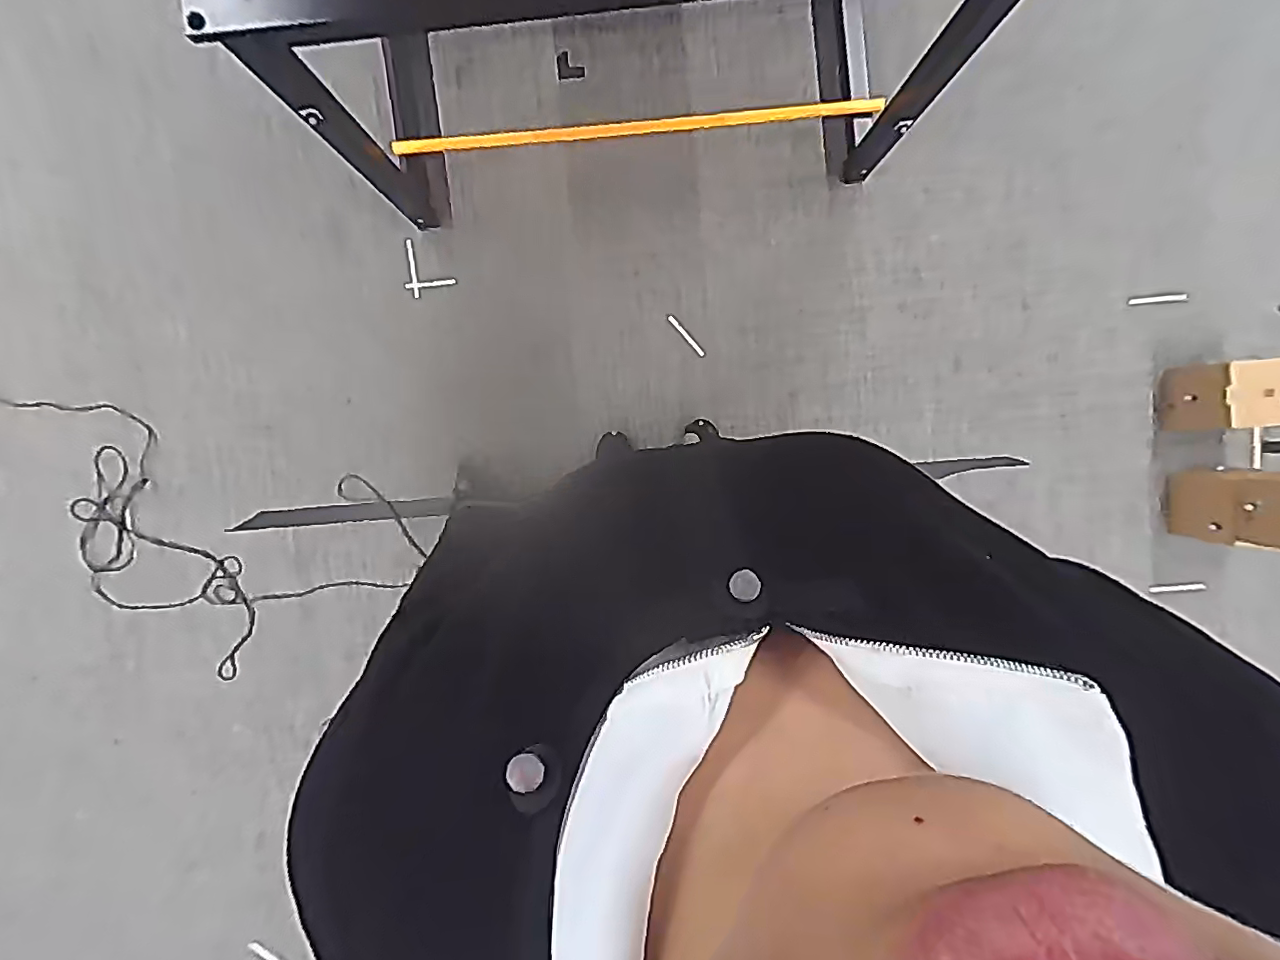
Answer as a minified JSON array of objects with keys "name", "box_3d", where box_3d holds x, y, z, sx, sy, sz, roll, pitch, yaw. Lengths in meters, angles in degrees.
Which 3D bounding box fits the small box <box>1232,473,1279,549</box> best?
[{"name":"small box","box_3d":[1.552,0.071,1.255,0.179,0.176,0.168,-4,94,2]}]

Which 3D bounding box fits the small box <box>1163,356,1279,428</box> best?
[{"name":"small box","box_3d":[1.506,-0.221,1.392,0.179,0.176,0.168,-3,95,1]}]

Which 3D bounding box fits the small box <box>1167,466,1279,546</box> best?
[{"name":"small box","box_3d":[1.541,0.062,1.417,0.168,0.176,0.179,-7,95,0]}]
